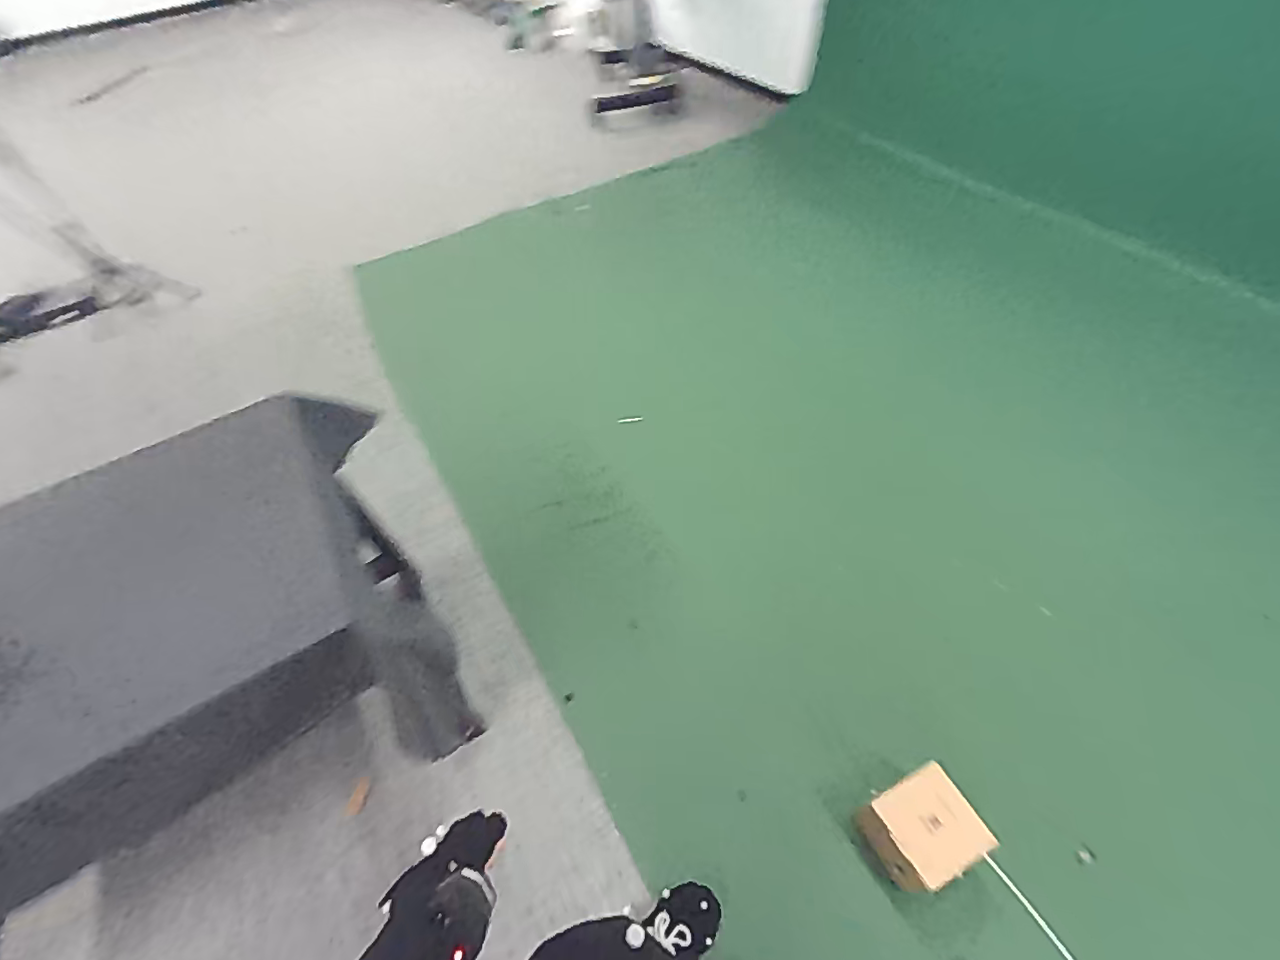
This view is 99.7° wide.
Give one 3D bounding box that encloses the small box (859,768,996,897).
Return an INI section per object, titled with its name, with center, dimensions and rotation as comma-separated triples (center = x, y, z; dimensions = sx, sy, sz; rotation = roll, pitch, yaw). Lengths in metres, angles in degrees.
[small box]
center = 0.587, 0.741, 1.134
dimensions = 0.179, 0.176, 0.168
rotation = -23, 54, -12
